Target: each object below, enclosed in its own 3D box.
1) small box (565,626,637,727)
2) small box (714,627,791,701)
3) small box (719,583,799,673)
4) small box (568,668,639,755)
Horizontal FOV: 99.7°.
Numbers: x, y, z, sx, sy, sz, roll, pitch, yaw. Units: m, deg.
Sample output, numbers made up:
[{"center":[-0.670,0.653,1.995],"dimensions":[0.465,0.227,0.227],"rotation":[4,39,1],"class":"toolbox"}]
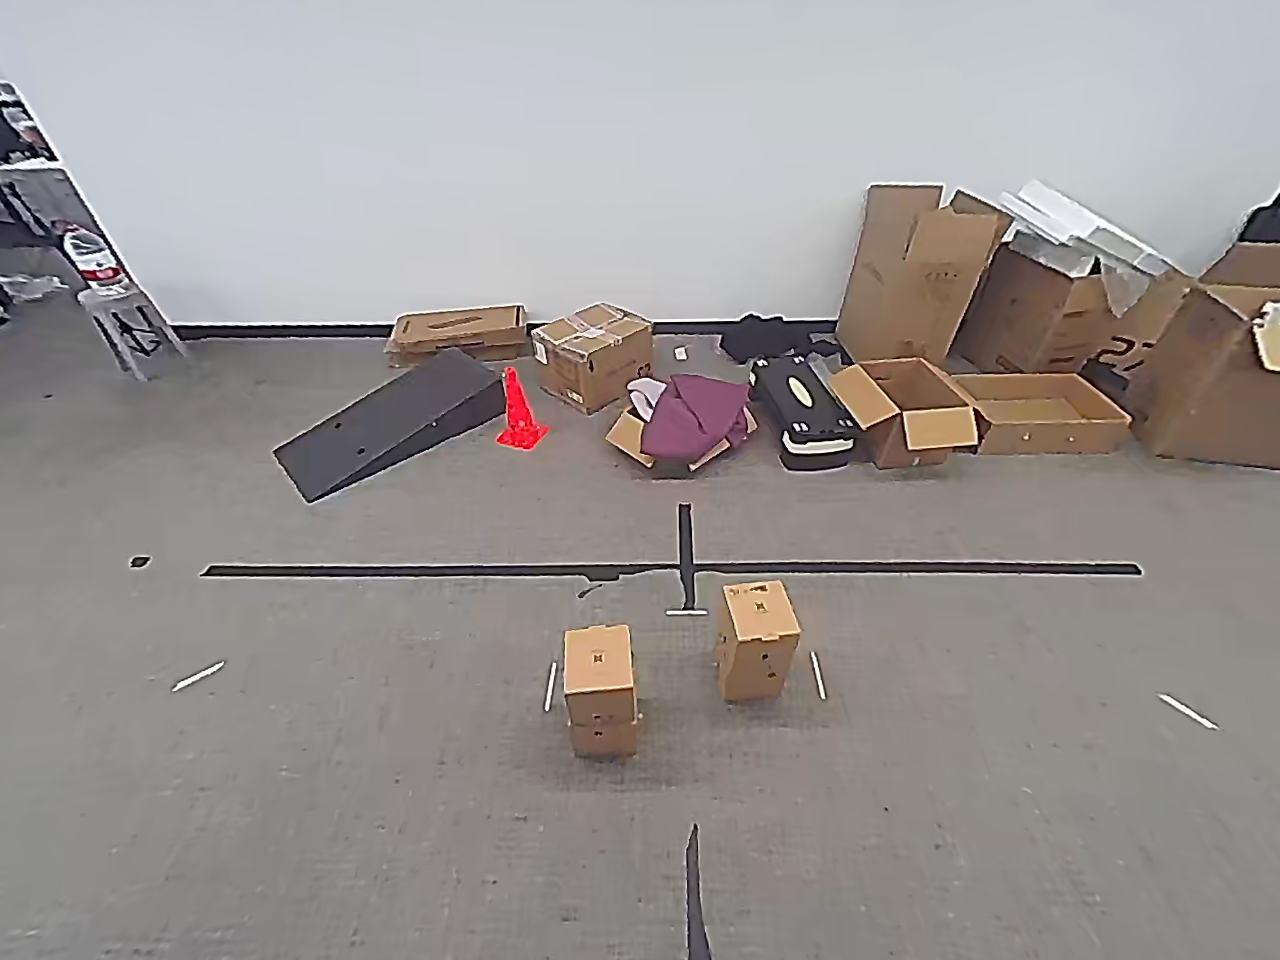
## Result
[{"center":[-0.096,0.498,1.369],"dimensions":[0.168,0.176,0.179],"rotation":[-5,42,-2],"class":"small box"},{"center":[0.321,0.525,1.580],"dimensions":[0.179,0.176,0.168],"rotation":[-4,40,-3],"class":"small box"},{"center":[0.316,0.406,1.467],"dimensions":[0.168,0.176,0.179],"rotation":[-5,41,-4],"class":"small box"},{"center":[-0.093,0.629,1.465],"dimensions":[0.179,0.176,0.168],"rotation":[-2,40,-1],"class":"small box"}]
